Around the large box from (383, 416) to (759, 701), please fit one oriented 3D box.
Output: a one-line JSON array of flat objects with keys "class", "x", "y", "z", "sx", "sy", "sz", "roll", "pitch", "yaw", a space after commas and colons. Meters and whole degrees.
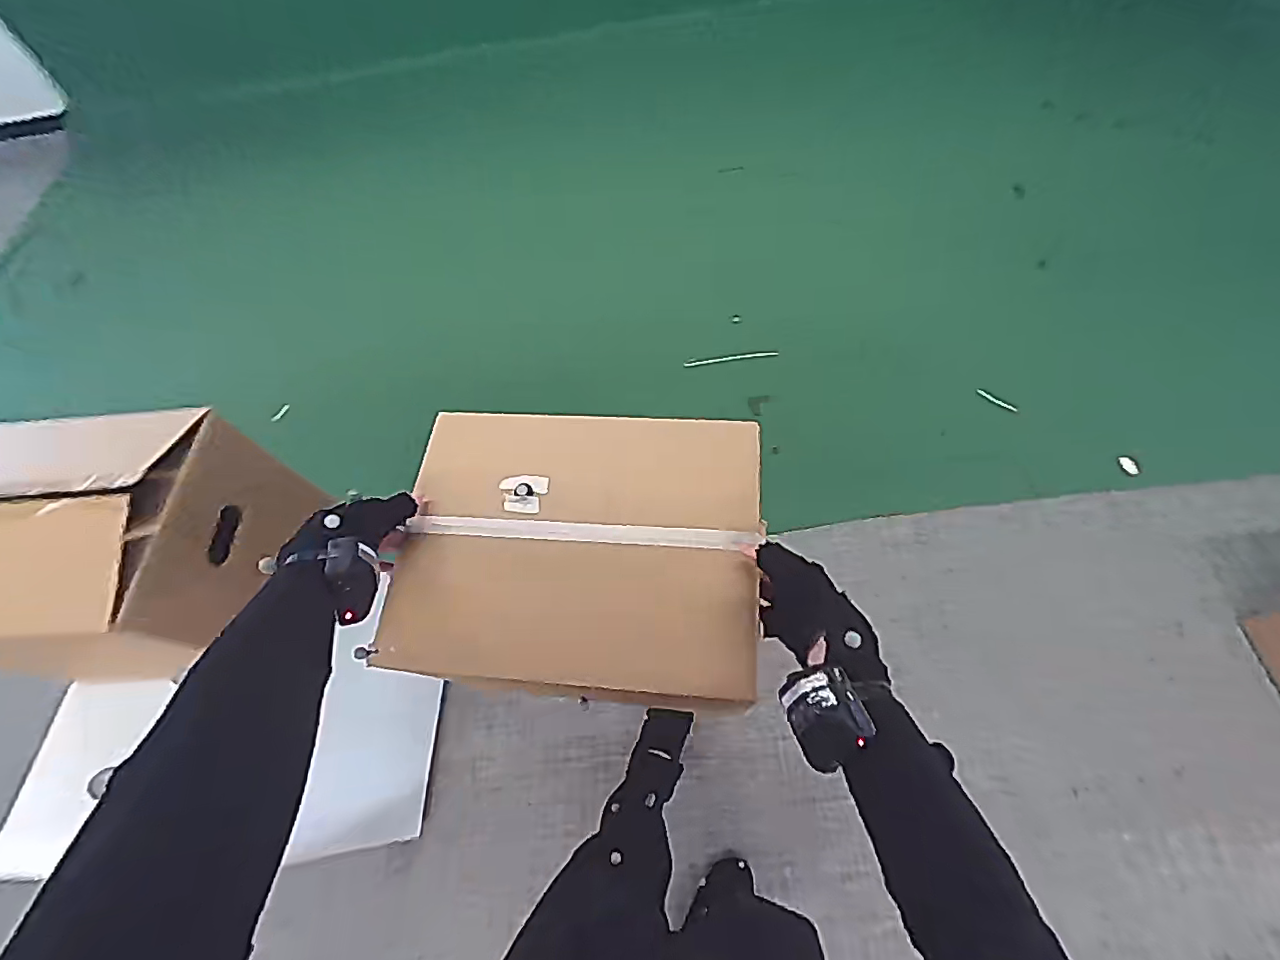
[{"class": "large box", "x": -0.049, "y": 0.122, "z": 0.744, "sx": 0.408, "sy": 0.320, "sz": 0.320, "roll": 2, "pitch": 65, "yaw": 9}]
